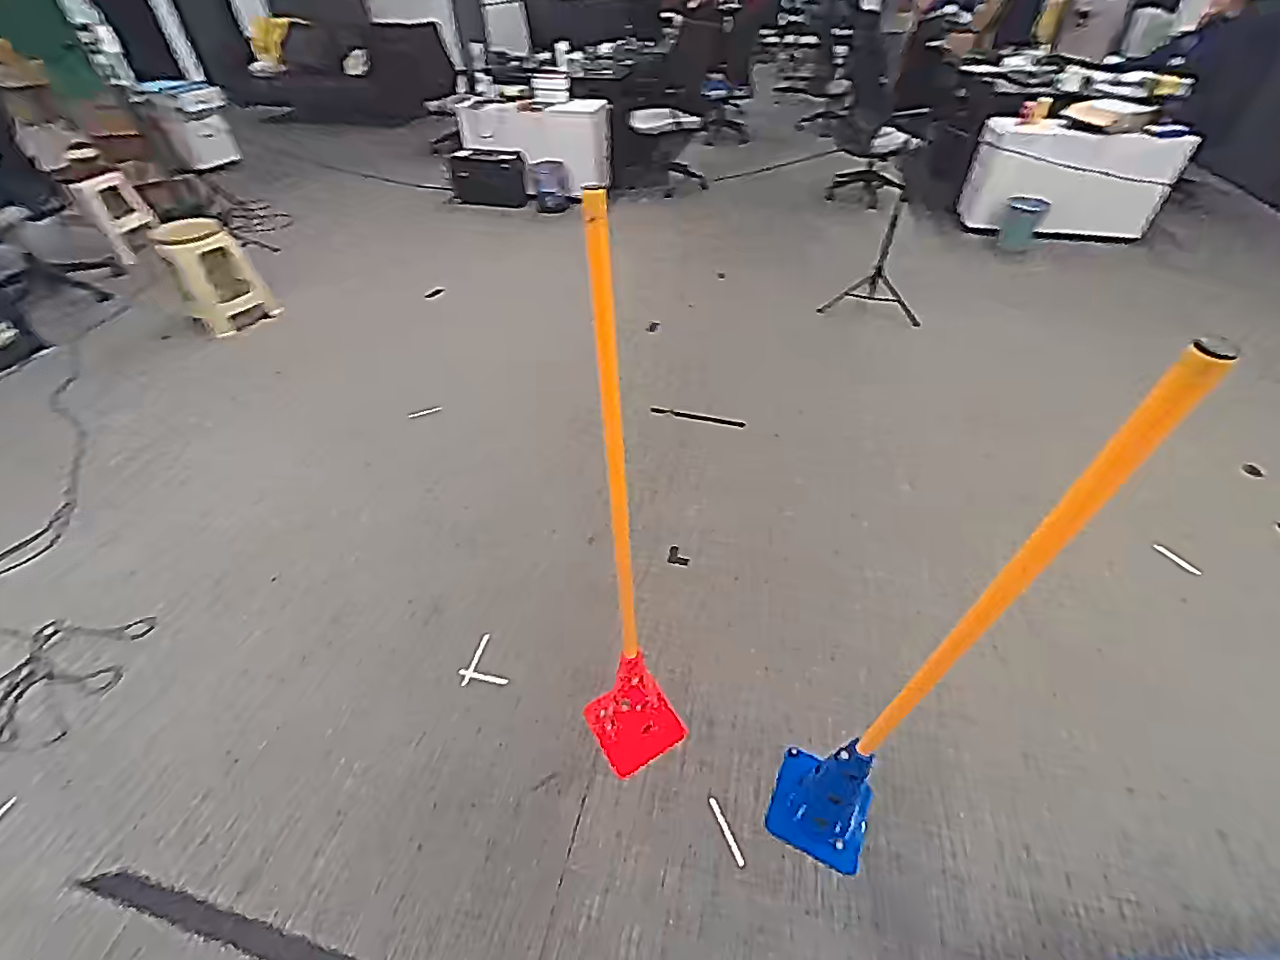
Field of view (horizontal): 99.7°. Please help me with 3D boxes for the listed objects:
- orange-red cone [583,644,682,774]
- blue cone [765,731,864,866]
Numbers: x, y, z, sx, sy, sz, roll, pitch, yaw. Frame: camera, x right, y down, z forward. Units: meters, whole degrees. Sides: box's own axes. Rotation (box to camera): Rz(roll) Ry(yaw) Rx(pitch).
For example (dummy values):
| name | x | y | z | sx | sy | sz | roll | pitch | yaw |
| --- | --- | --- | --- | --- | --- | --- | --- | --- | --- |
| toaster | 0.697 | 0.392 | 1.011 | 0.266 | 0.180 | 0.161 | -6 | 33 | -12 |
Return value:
| name | x | y | z | sx | sy | sz | roll | pitch | yaw |
| --- | --- | --- | --- | --- | --- | --- | --- | --- | --- |
| orange-red cone | -0.021 | 0.469 | 1.209 | 0.198 | 0.360 | 0.199 | -23 | 50 | -21 |
| blue cone | 0.385 | 0.602 | 1.086 | 0.192 | 0.380 | 0.193 | 20 | 48 | 21 |
